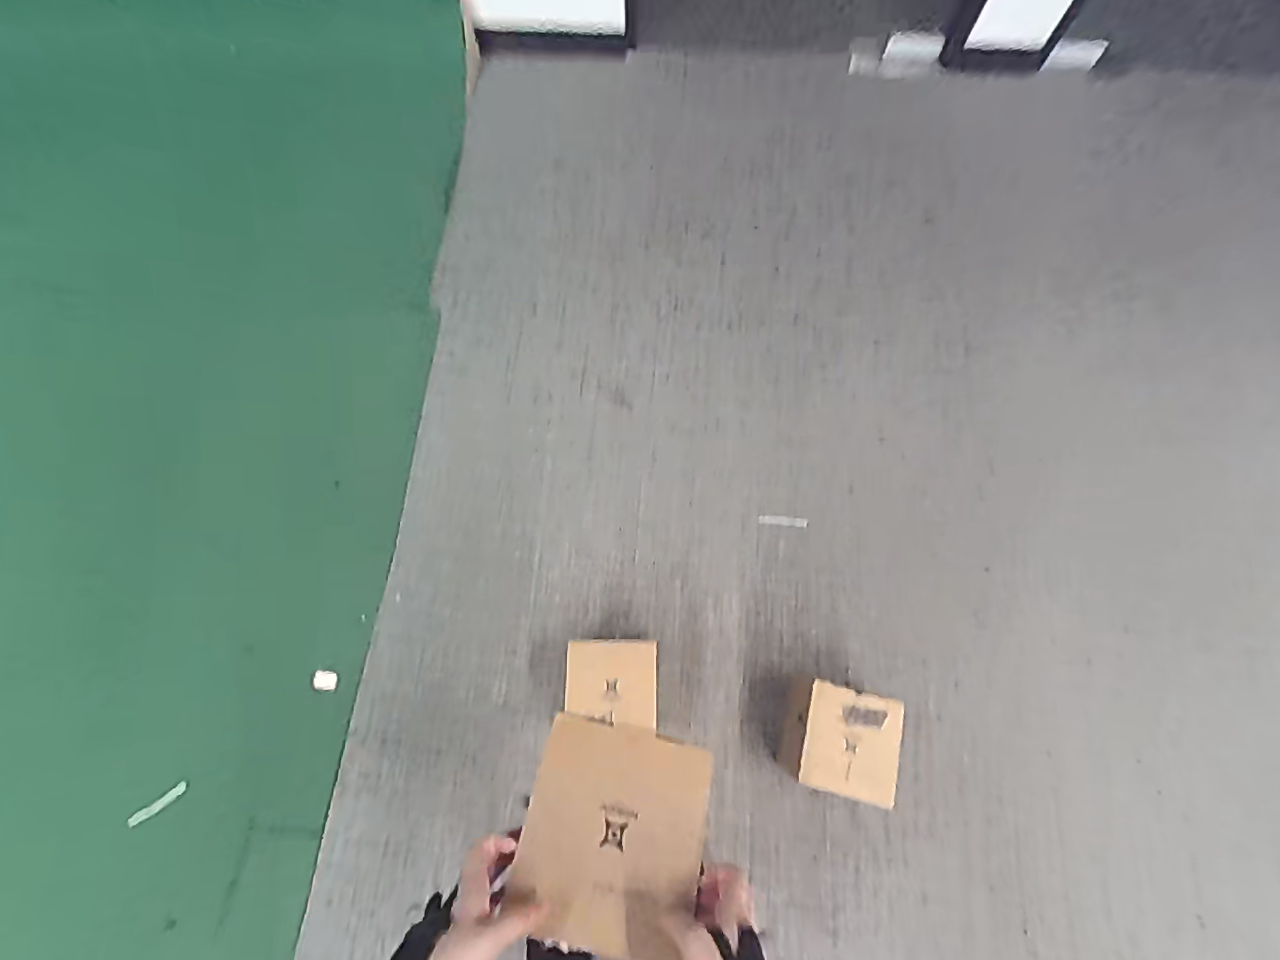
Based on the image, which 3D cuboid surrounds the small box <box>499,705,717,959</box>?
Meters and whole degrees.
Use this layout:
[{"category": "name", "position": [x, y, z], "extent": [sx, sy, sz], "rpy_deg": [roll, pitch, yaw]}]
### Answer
[{"category": "small box", "position": [-0.028, 0.352, 0.549], "extent": [0.168, 0.176, 0.179], "rpy_deg": [12, 57, 3]}]

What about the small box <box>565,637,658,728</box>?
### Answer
[{"category": "small box", "position": [-0.052, 0.399, 1.043], "extent": [0.168, 0.176, 0.179], "rpy_deg": [1, 72, 1]}]

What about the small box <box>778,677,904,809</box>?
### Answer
[{"category": "small box", "position": [0.368, 0.478, 1.014], "extent": [0.168, 0.176, 0.179], "rpy_deg": [14, 73, 5]}]
